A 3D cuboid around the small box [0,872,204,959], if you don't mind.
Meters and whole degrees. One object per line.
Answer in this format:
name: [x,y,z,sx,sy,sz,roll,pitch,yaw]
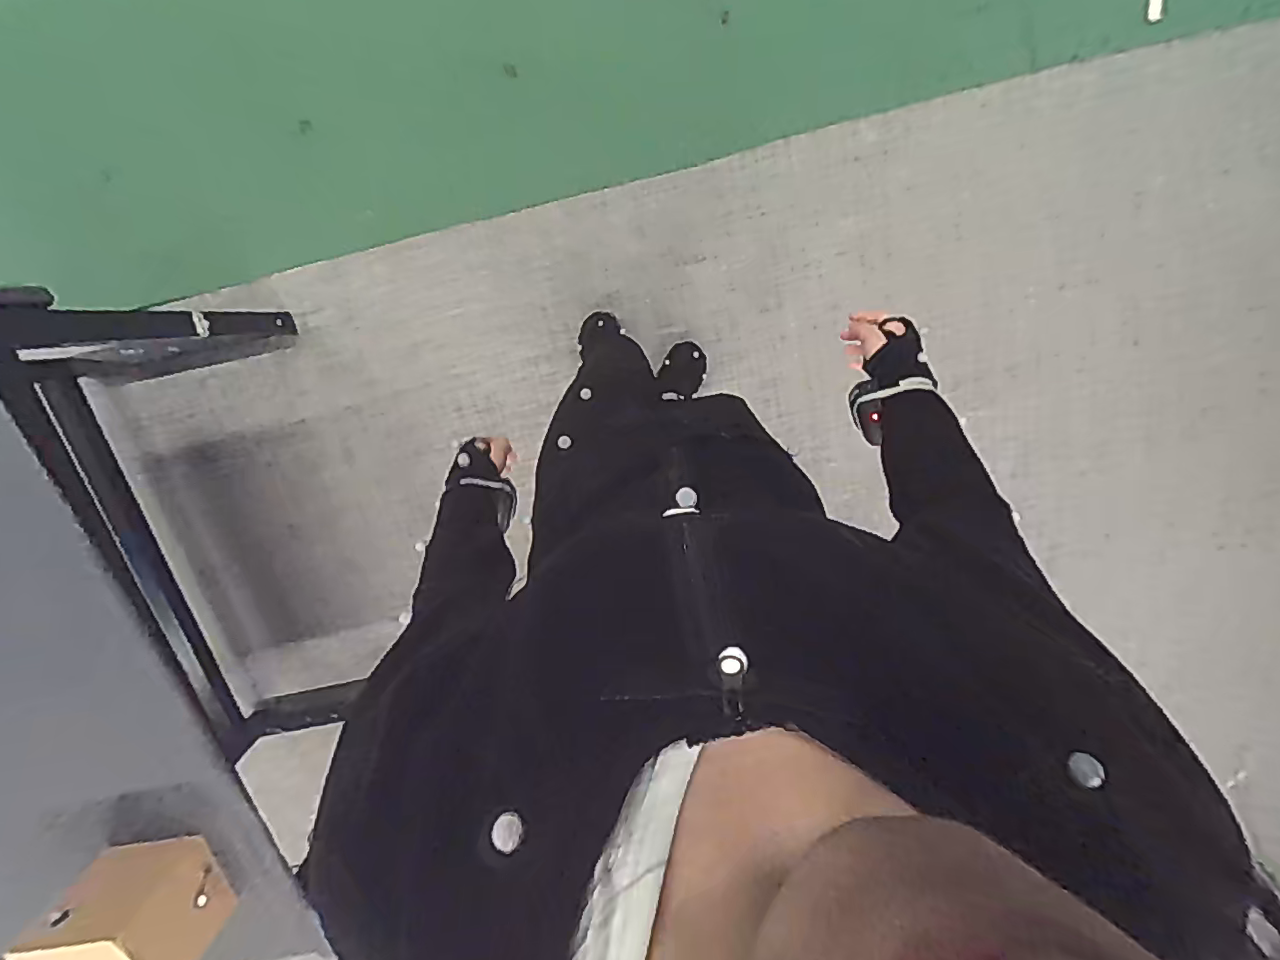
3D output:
small box: [-0.828,0.741,0.818,0.179,0.176,0.168,-10,106,0]
